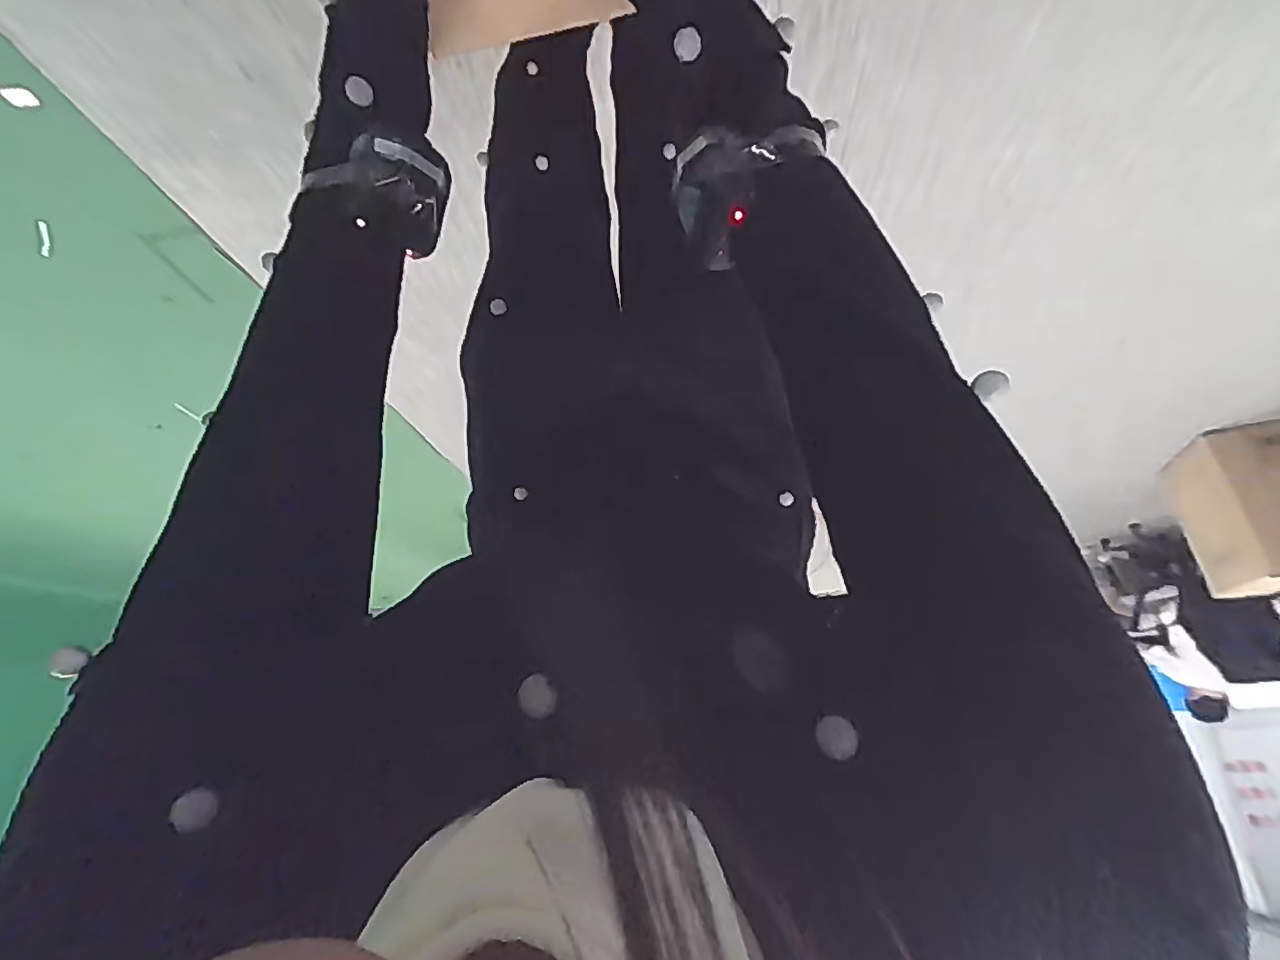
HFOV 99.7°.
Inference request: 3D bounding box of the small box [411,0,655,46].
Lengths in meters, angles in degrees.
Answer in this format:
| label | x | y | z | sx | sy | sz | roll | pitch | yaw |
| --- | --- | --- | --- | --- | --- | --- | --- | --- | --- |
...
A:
| label | x | y | z | sx | sy | sz | roll | pitch | yaw |
| --- | --- | --- | --- | --- | --- | --- | --- | --- | --- |
| small box | -0.088 | -0.445 | 0.373 | 0.179 | 0.176 | 0.168 | -6 | 149 | 4 |
